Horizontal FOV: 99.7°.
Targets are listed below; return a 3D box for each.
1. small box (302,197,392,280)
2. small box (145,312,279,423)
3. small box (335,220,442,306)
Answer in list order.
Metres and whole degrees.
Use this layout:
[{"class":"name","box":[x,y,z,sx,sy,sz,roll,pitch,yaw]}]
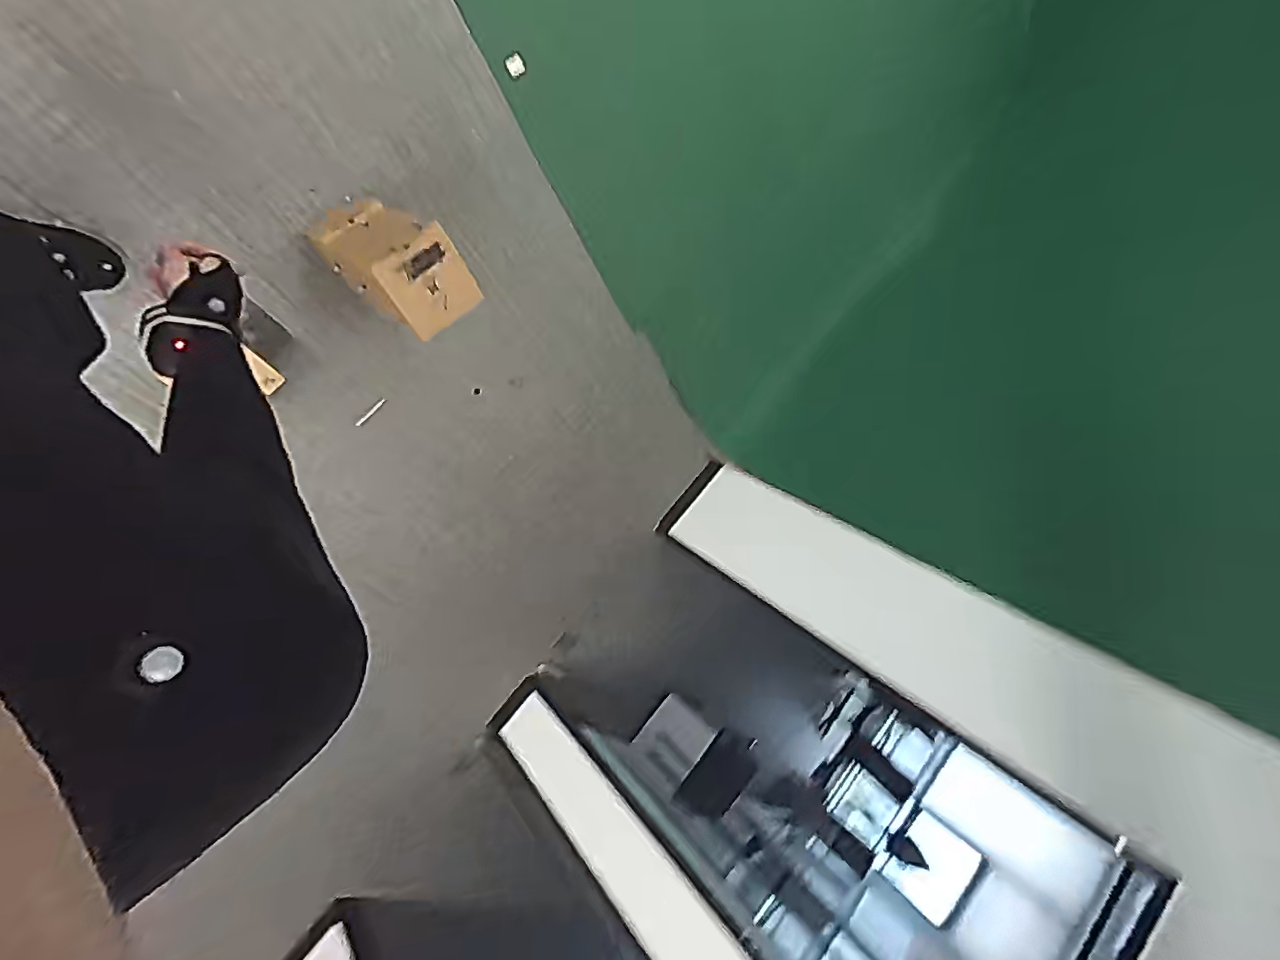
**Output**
[{"class":"small box","box":[-0.691,-0.576,1.336,0.168,0.176,0.179,-44,139,-15]},{"class":"small box","box":[-0.982,-0.265,1.237,0.168,0.176,0.179,-46,138,-14]},{"class":"small box","box":[-0.582,-0.504,1.251,0.179,0.176,0.168,-18,125,-38]}]
